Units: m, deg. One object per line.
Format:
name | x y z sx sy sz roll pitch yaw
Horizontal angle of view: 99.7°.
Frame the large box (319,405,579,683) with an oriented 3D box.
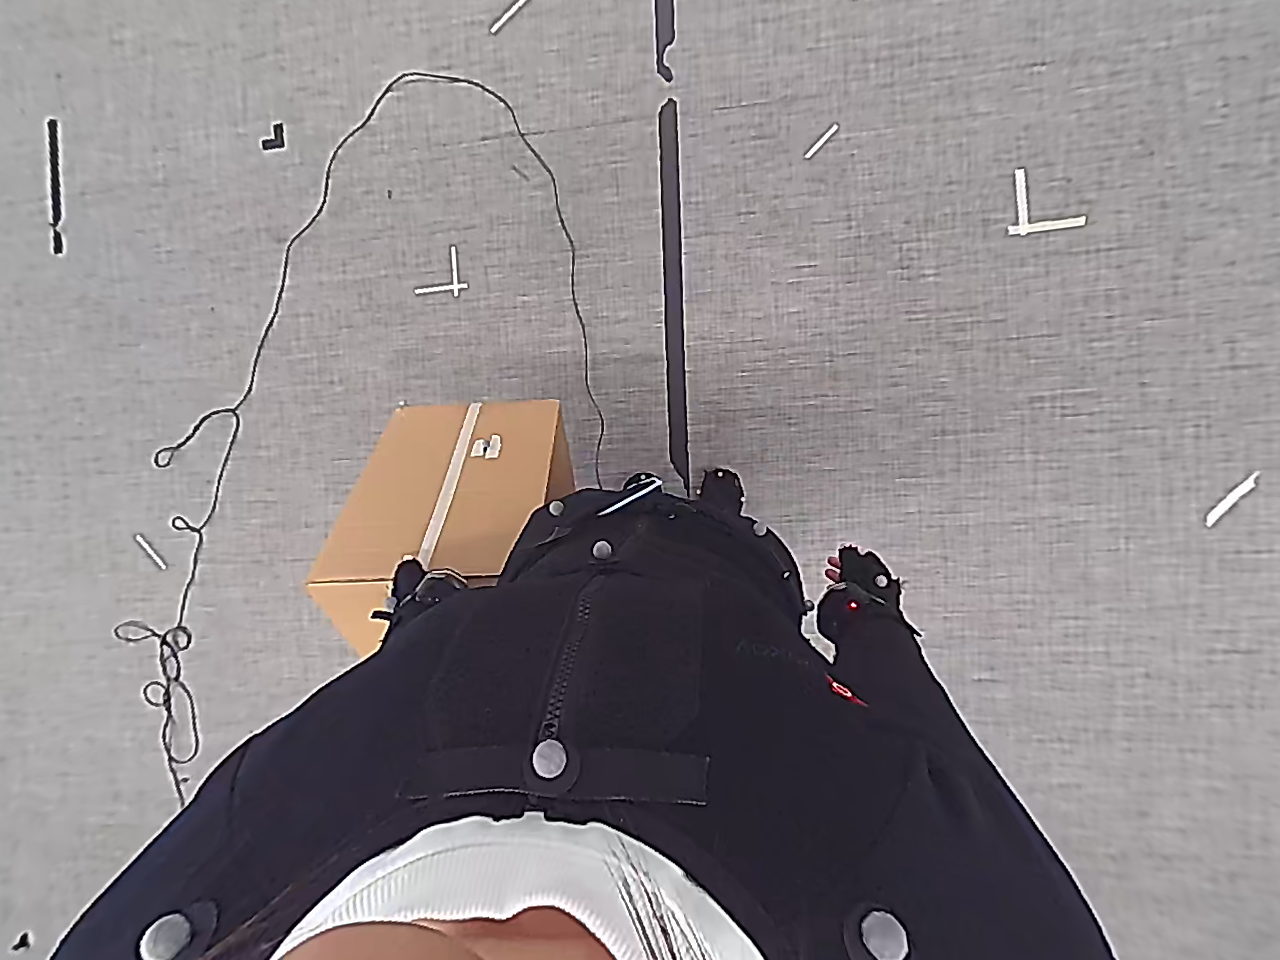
large box | -0.294 0.109 0.993 0.320 0.408 0.320 -2 133 1
